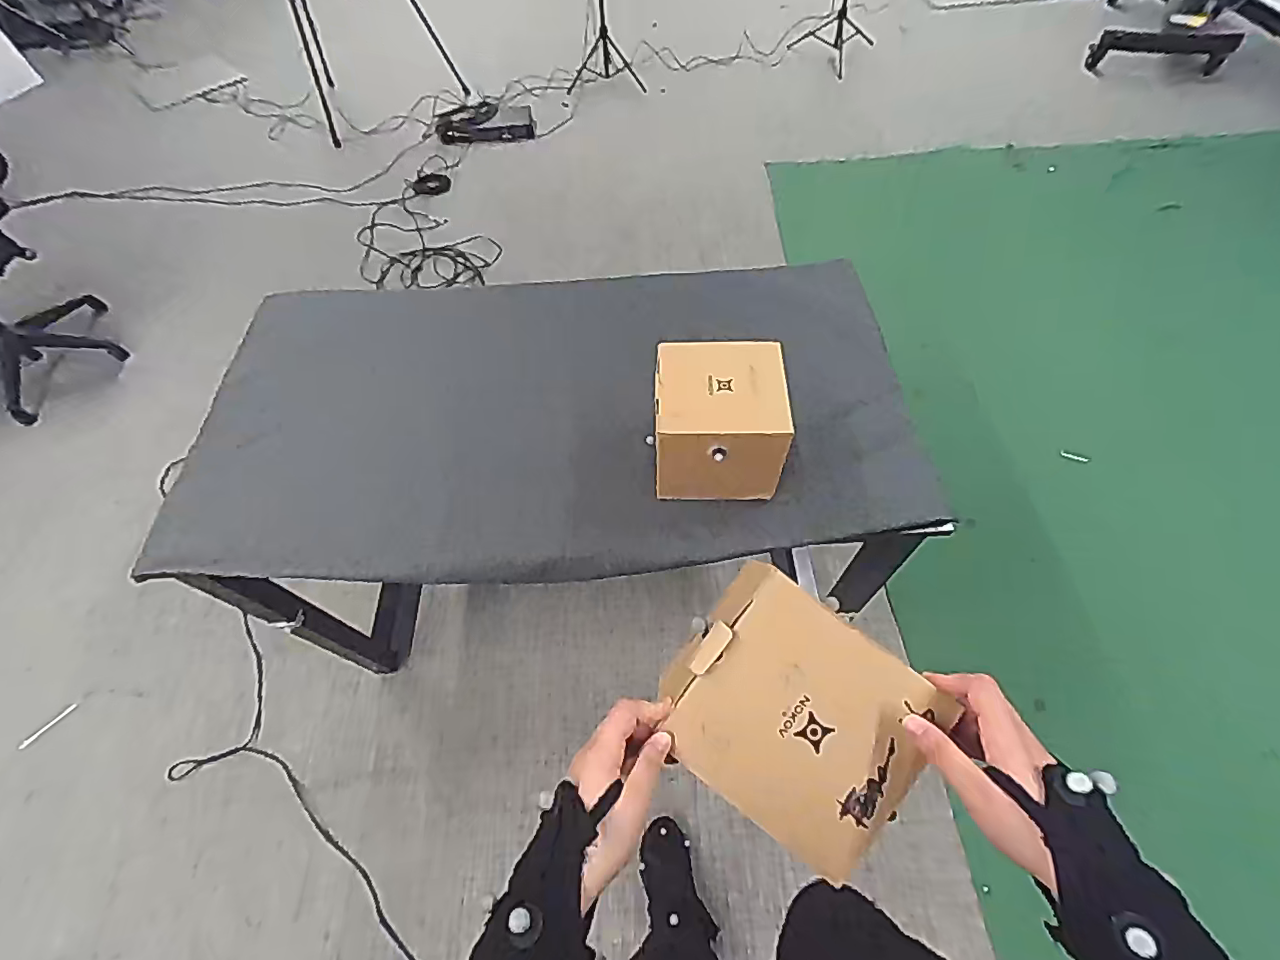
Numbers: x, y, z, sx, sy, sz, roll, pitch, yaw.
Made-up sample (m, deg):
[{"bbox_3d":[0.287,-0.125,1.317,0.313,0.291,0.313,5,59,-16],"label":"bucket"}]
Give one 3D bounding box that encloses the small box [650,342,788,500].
[{"bbox_3d":[0.106,-0.081,0.788,0.179,0.176,0.168,0,58,2],"label":"small box"}]
